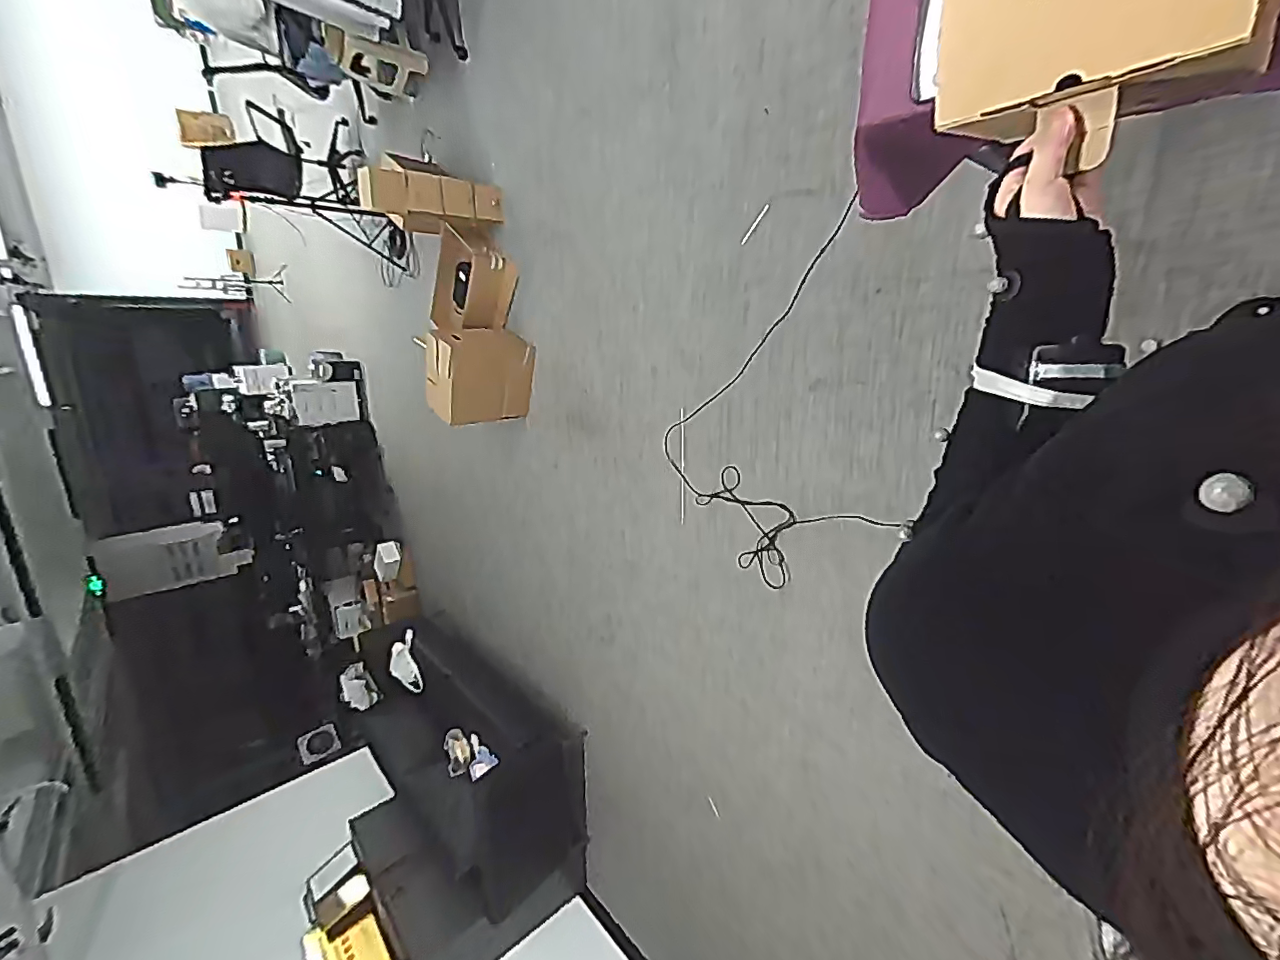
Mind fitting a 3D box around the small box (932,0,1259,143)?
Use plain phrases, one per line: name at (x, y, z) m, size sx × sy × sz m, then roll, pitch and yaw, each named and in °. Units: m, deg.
small box at (0.332, -0.365, 0.389) m, size 0.168 × 0.176 × 0.179 m, roll 13°, pitch 120°, yaw 45°
